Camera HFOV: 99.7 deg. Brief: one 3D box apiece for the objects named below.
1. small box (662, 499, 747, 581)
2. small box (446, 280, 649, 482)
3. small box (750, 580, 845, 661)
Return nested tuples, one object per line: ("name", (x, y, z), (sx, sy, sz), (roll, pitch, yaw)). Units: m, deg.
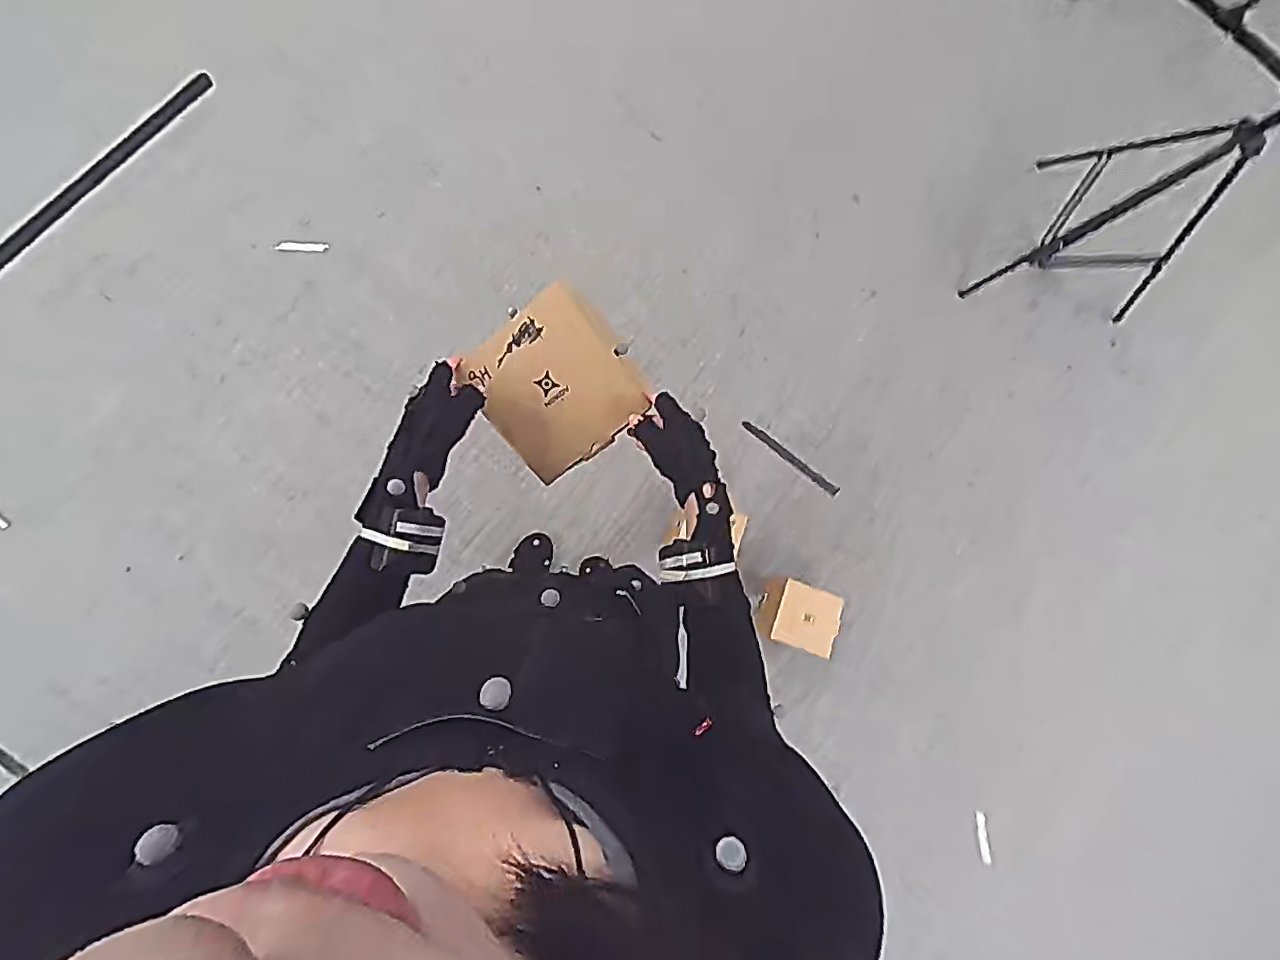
("small box", (0.170, 0.164, 1.488), (0.168, 0.176, 0.179), (20, 82, -5))
("small box", (-0.102, -0.133, 0.686), (0.168, 0.176, 0.179), (-36, 105, 12))
("small box", (0.432, 0.382, 1.501), (0.179, 0.176, 0.168), (20, 80, -4))
